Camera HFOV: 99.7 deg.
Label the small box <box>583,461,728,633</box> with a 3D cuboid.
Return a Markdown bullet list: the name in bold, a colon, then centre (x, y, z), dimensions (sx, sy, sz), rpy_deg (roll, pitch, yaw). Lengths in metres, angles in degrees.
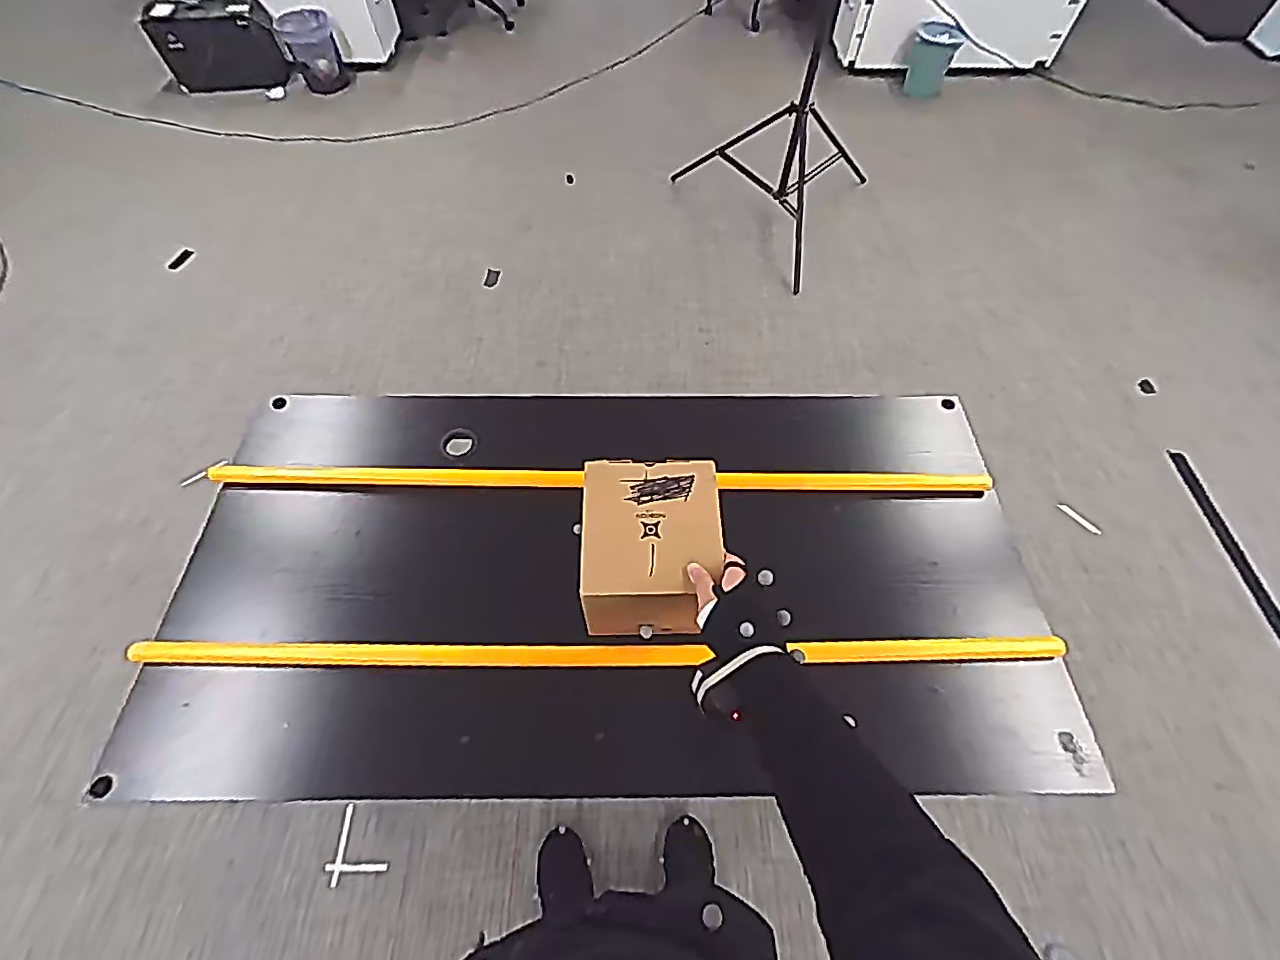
- **small box**: centre (0.016, 0.091, 0.709), dimensions (0.168, 0.176, 0.179), rpy_deg (0, 60, 0)
